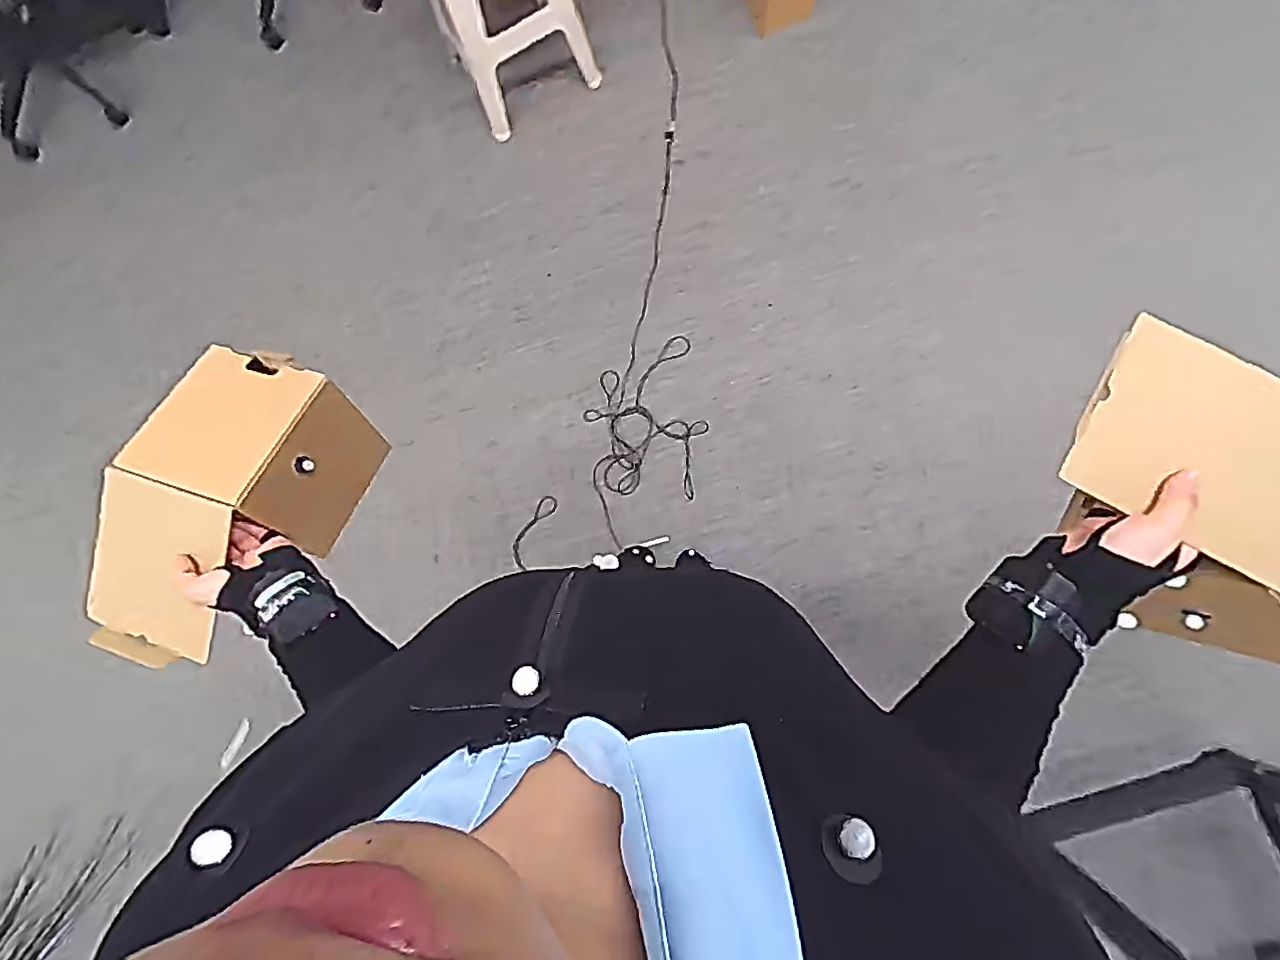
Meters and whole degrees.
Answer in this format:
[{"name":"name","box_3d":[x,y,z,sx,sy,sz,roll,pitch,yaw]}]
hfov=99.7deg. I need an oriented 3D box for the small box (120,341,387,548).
[{"name":"small box","box_3d":[-0.453,-0.036,0.671,0.168,0.176,0.179,16,64,10]}]
